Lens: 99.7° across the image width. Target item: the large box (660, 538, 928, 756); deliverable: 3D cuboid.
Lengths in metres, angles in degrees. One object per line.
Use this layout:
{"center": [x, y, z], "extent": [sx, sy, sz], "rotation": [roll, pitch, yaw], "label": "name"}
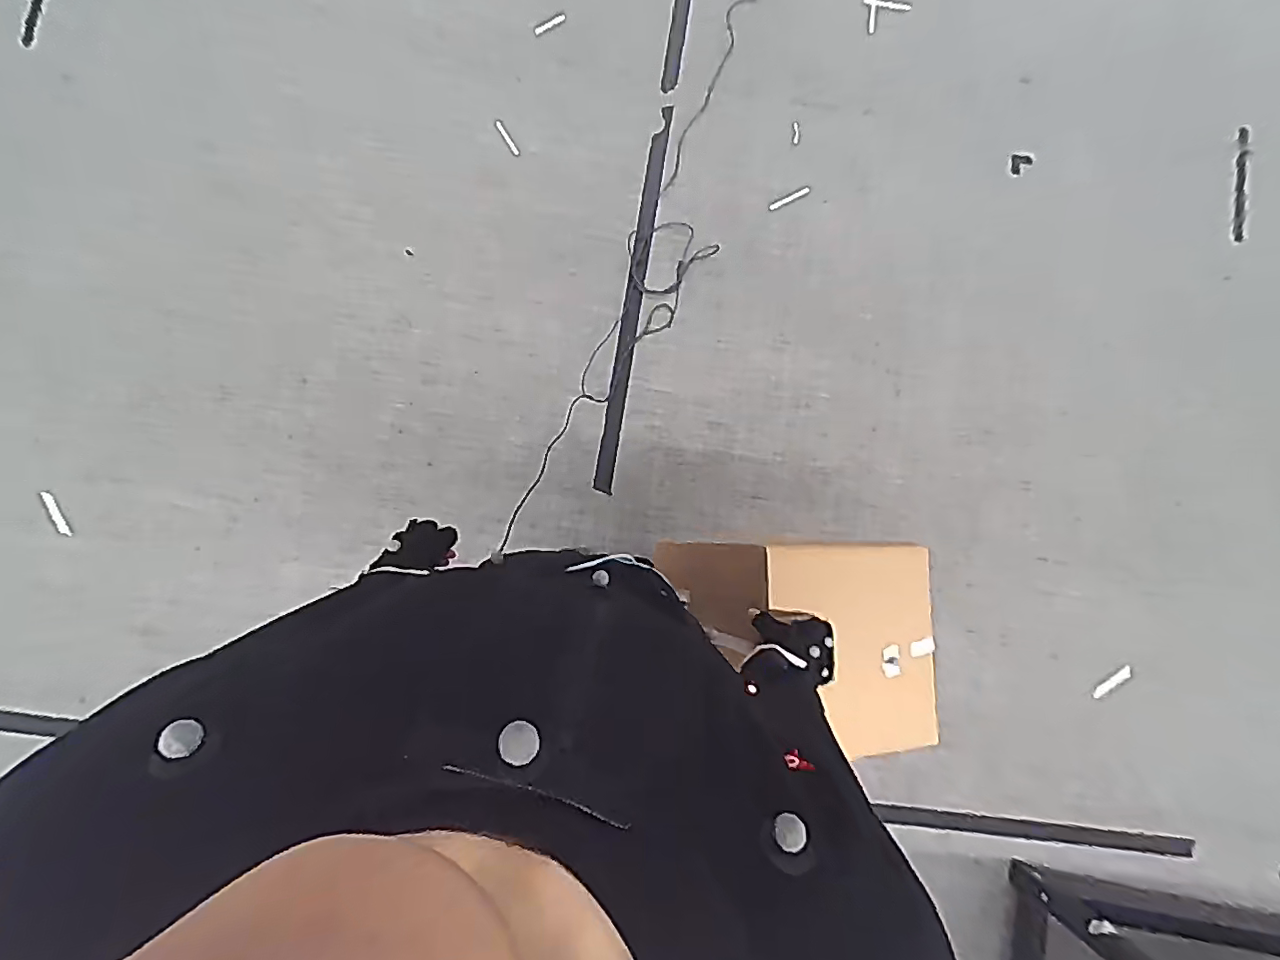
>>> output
{"center": [0.256, 0.269, 1.011], "extent": [0.320, 0.408, 0.320], "rotation": [4, 83, -19], "label": "large box"}
